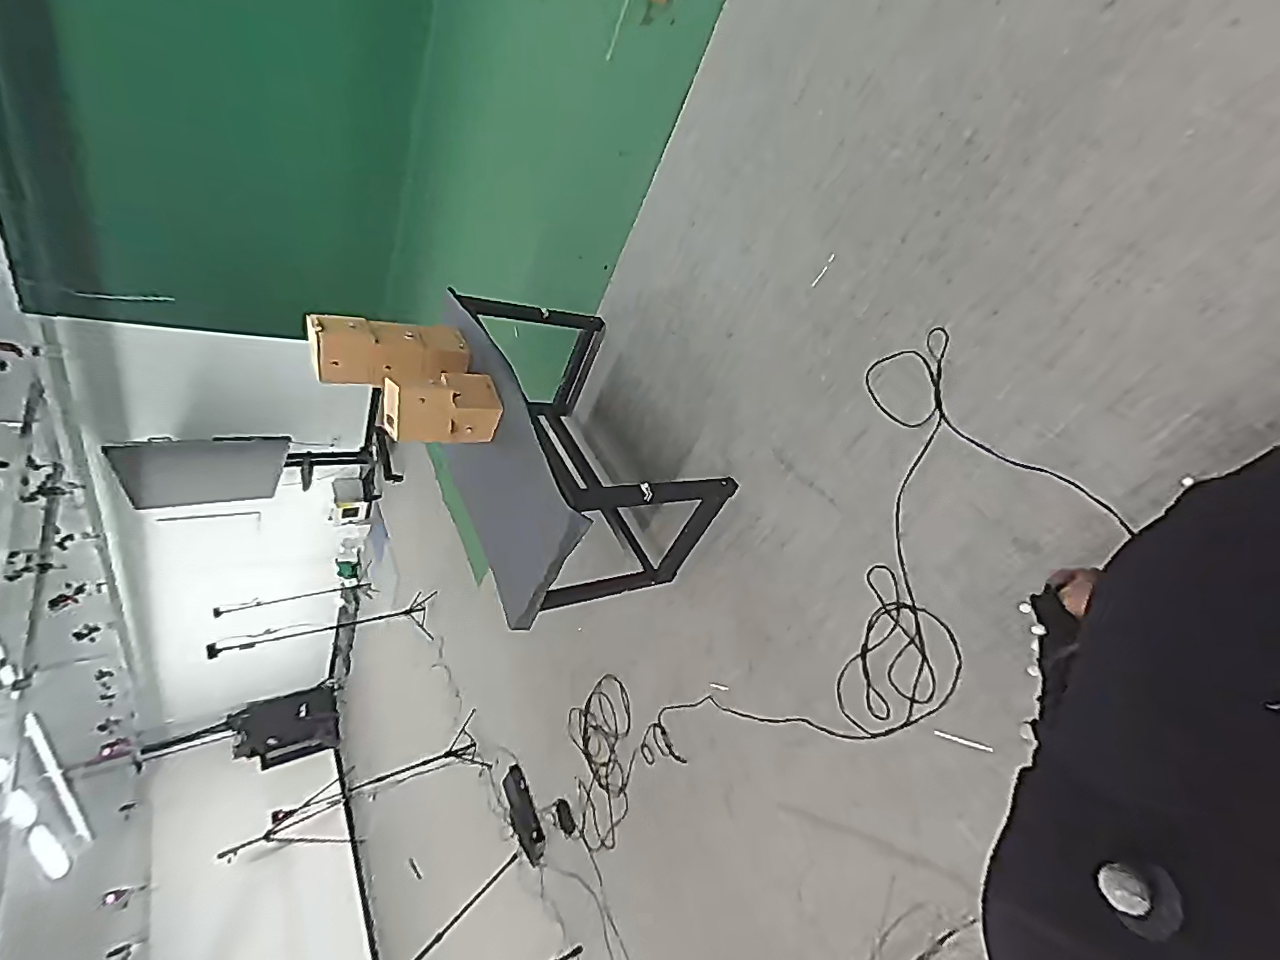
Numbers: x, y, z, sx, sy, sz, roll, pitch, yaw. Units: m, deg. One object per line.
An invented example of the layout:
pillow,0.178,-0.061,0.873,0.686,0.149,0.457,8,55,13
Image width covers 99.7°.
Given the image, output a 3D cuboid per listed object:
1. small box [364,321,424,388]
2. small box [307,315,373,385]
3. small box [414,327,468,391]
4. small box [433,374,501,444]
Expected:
small box,-0.887,-0.443,1.934,0.168,0.176,0.179,50,130,33
small box,-1.014,-0.436,1.827,0.168,0.176,0.179,47,130,35
small box,-0.762,-0.455,2.037,0.168,0.176,0.179,55,134,31
small box,-0.593,-0.242,1.852,0.179,0.176,0.168,-53,54,41
